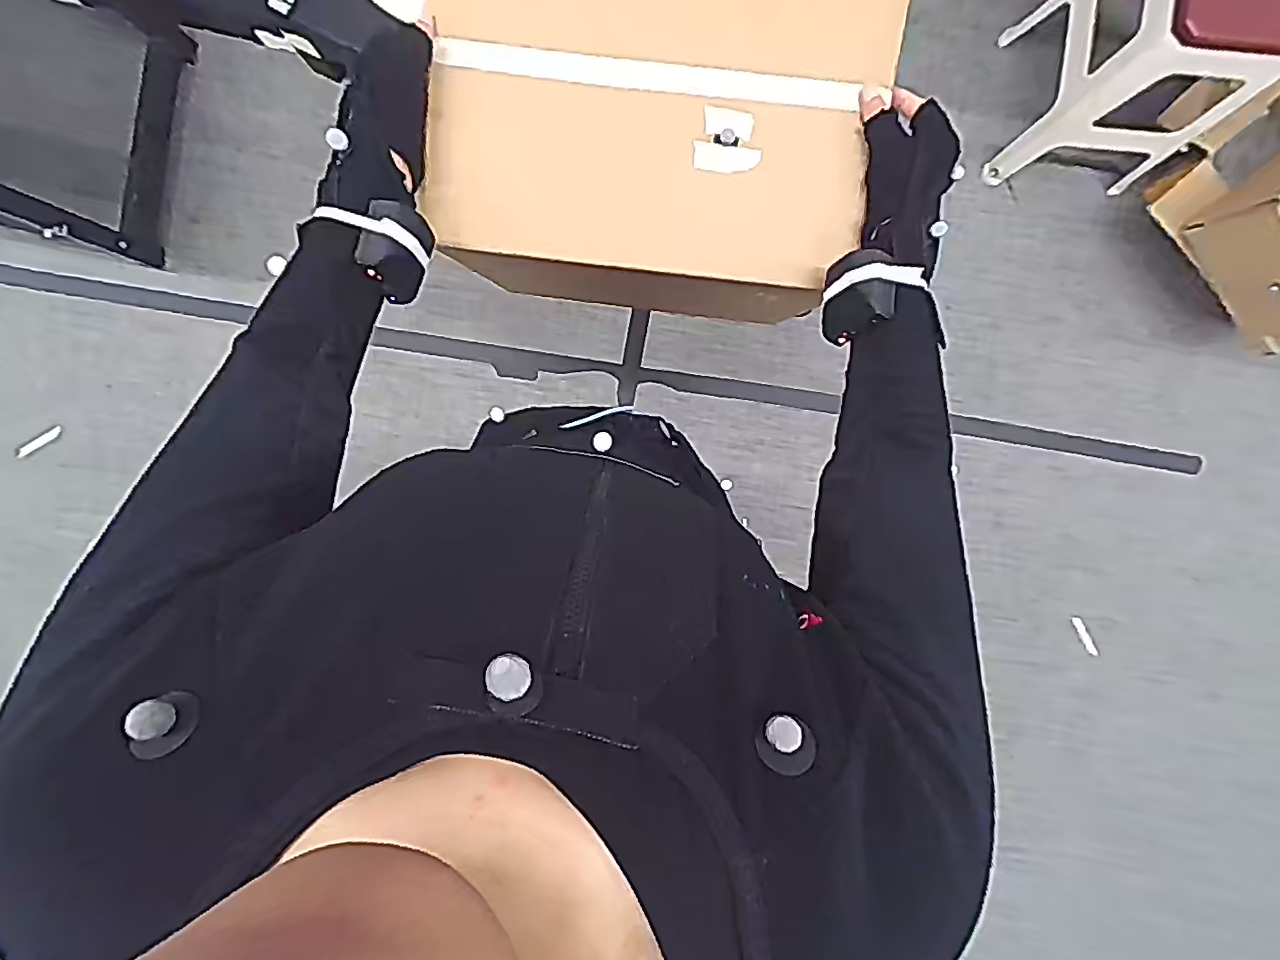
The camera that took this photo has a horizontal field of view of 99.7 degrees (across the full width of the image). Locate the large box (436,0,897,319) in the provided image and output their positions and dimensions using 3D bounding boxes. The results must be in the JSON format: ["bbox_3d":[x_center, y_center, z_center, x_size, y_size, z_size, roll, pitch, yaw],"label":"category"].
[{"bbox_3d":[0.017,-0.378,0.628,0.408,0.320,0.320,6,101,-1],"label":"large box"}]
